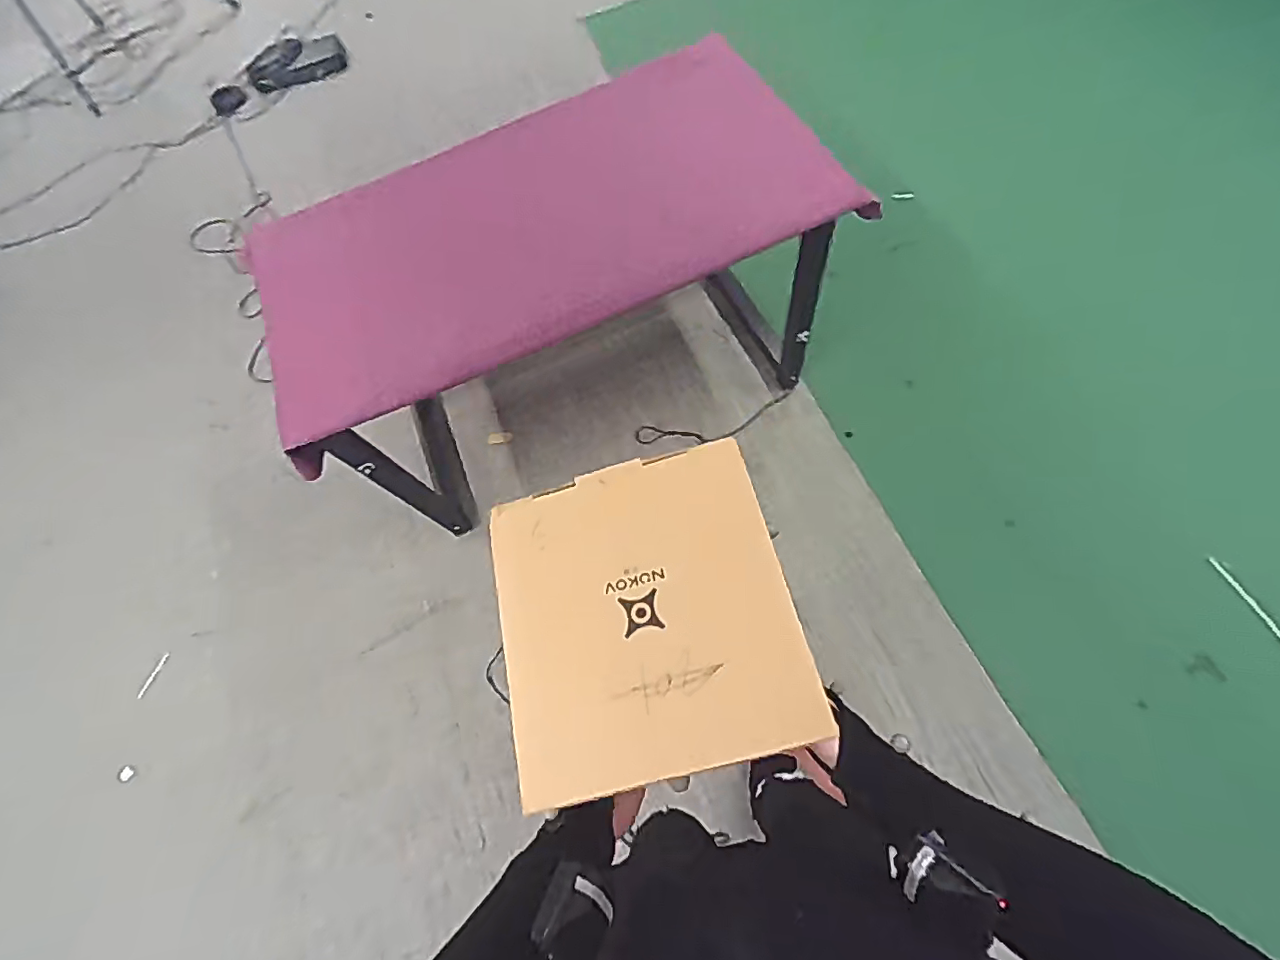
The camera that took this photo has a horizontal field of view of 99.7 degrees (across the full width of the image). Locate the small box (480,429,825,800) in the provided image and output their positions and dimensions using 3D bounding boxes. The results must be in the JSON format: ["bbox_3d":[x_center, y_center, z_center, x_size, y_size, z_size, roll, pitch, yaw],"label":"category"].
[{"bbox_3d":[0.009,0.096,0.375,0.168,0.176,0.179,-17,66,5],"label":"small box"}]
